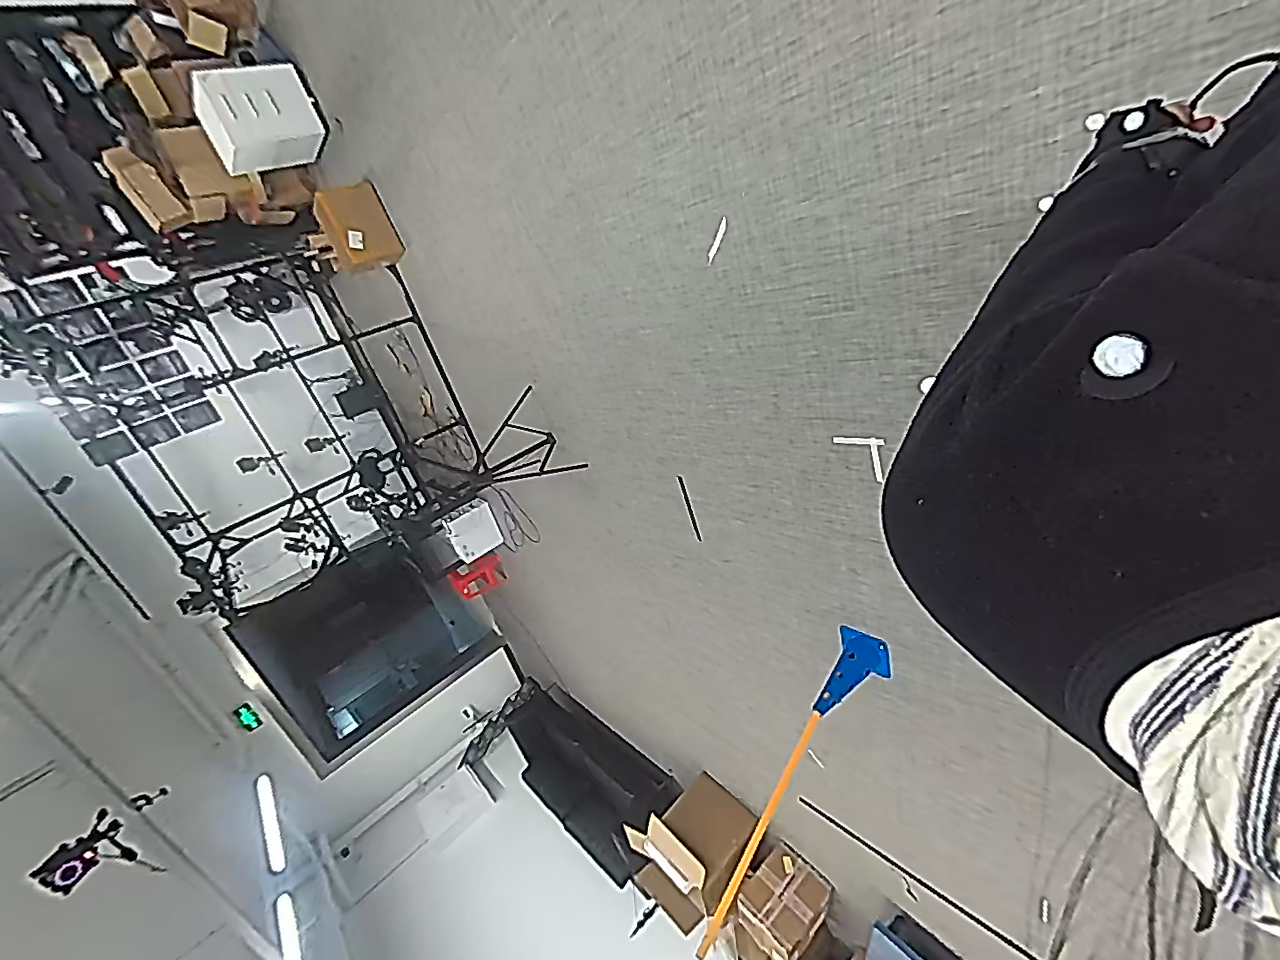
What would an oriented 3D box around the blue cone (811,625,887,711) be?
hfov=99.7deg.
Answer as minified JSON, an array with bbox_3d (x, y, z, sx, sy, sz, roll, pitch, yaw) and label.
[{"bbox_3d":[0.780,0.757,2.080,0.193,0.380,0.192,16,130,48],"label":"blue cone"}]
